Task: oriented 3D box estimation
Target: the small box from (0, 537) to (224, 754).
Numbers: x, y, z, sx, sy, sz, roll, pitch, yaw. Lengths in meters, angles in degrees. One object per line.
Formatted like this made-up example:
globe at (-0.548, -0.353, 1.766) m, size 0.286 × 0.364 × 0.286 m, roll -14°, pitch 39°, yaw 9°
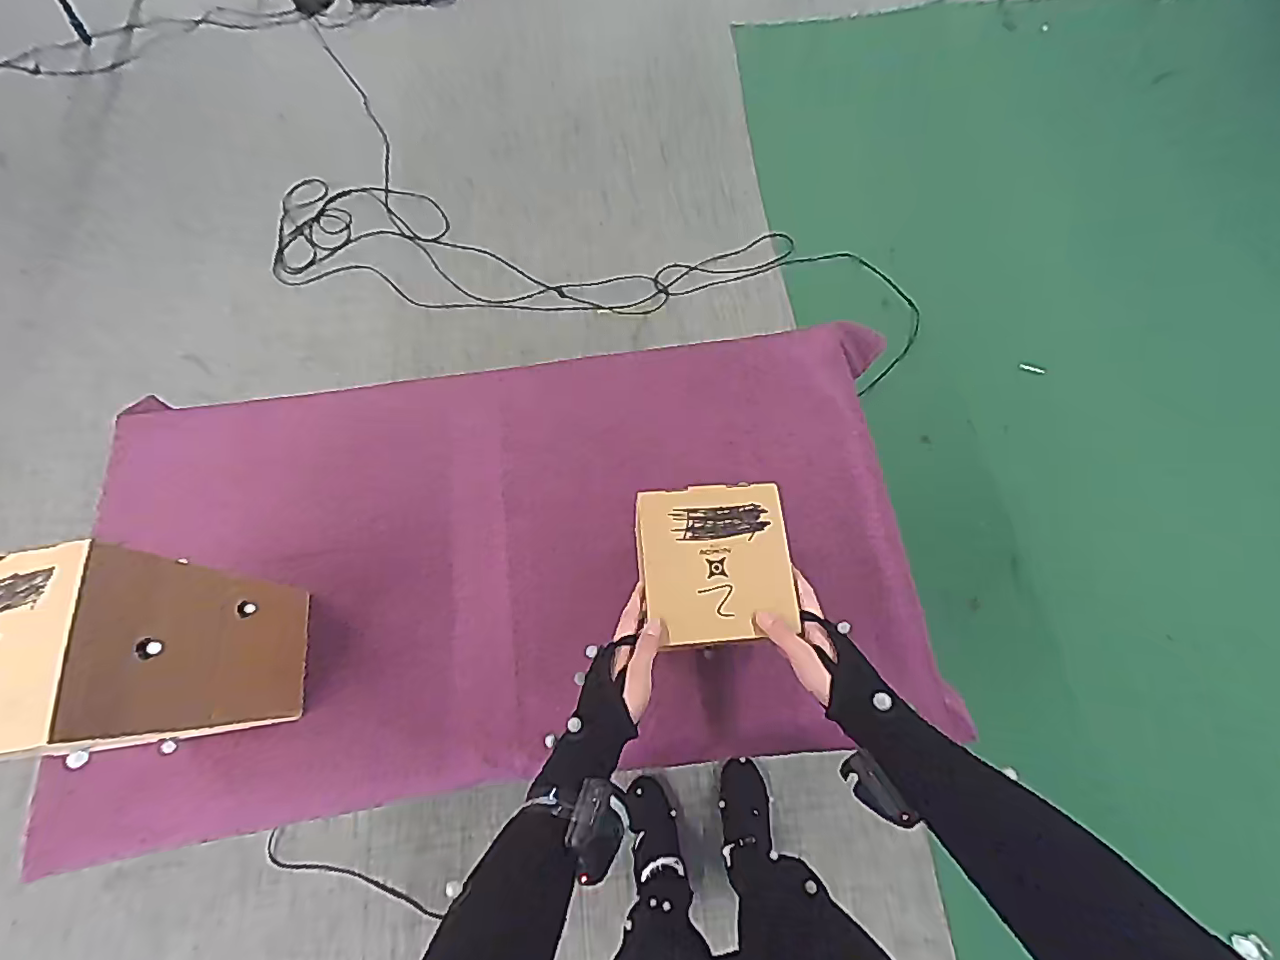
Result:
small box at (-0.561, 0.170, 0.538) m, size 0.168 × 0.176 × 0.179 m, roll -8°, pitch 70°, yaw -1°

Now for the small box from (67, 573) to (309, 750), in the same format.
small box at (-0.555, 0.229, 0.691) m, size 0.168 × 0.176 × 0.179 m, roll -9°, pitch 69°, yaw -1°
